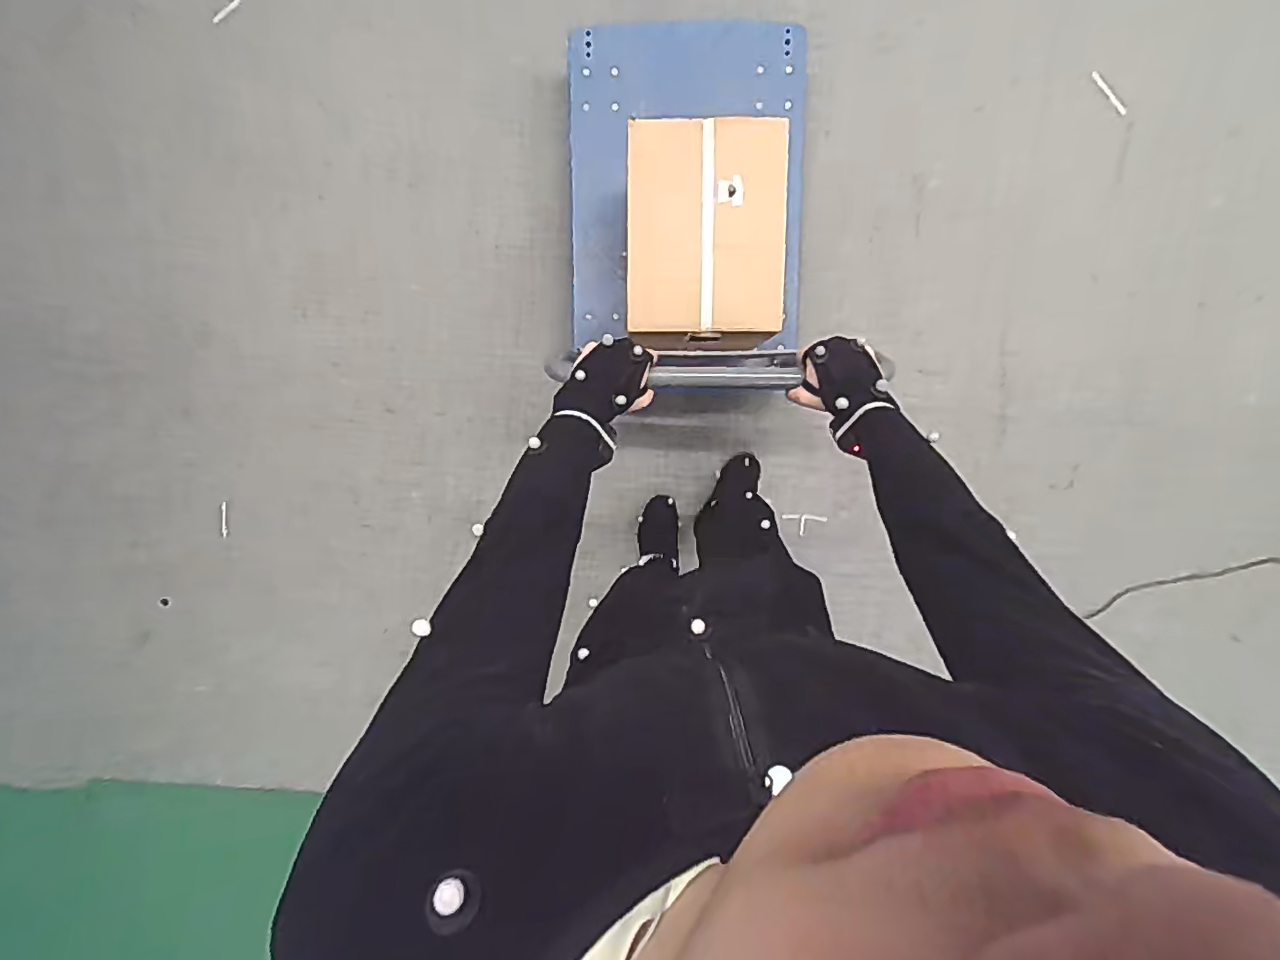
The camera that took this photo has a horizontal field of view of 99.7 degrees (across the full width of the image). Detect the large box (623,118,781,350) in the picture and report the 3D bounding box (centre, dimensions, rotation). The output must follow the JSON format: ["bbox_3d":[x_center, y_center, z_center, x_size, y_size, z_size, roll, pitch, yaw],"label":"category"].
[{"bbox_3d":[0.128,-0.519,1.221,0.320,0.320,0.408,0,96,0],"label":"large box"}]
